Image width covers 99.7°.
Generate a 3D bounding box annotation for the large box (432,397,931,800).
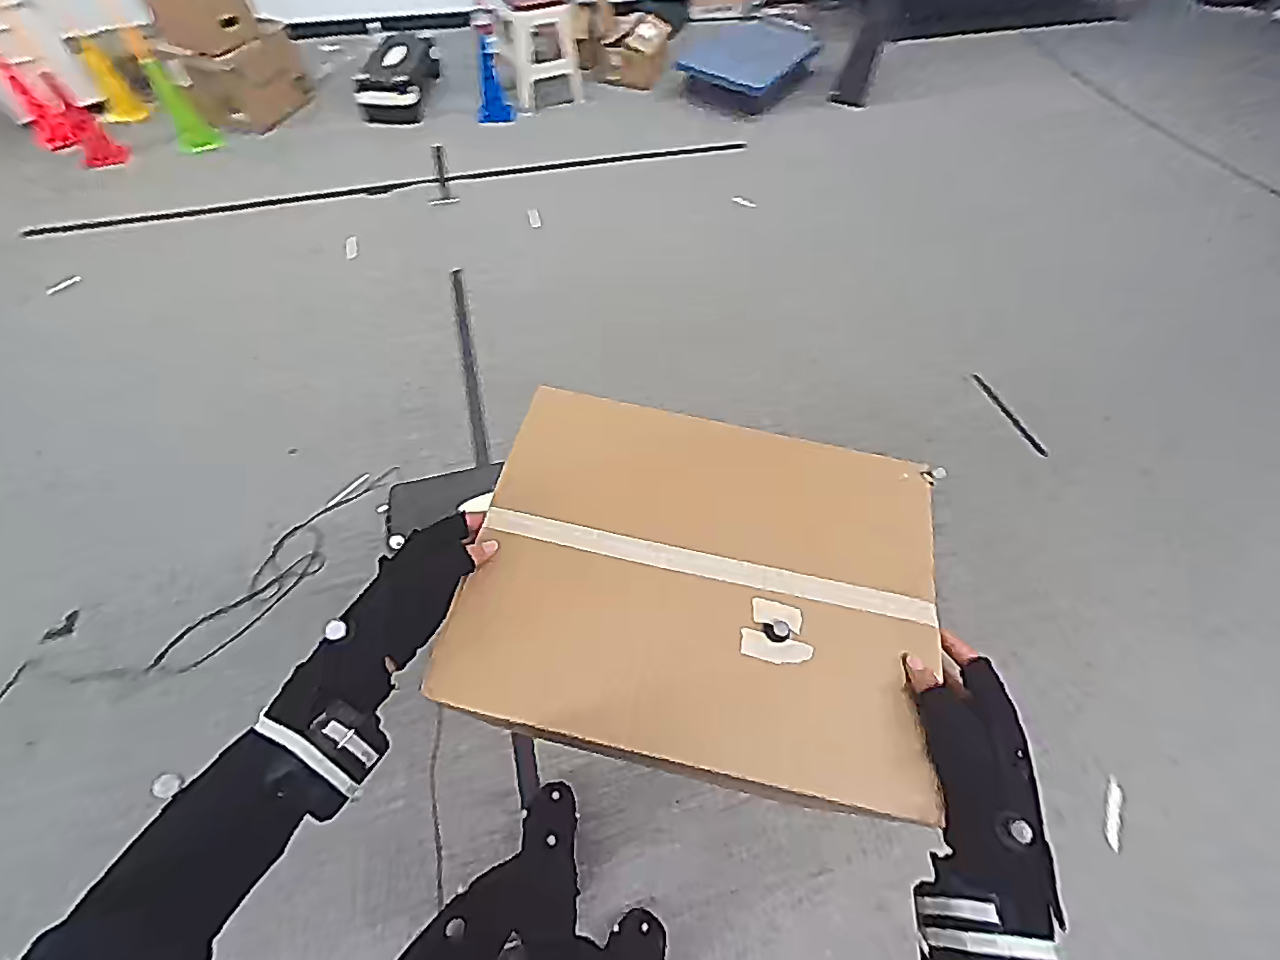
[{"bbox_3d":[0.045,0.148,0.619,0.408,0.320,0.320,12,62,2],"label":"large box"}]
